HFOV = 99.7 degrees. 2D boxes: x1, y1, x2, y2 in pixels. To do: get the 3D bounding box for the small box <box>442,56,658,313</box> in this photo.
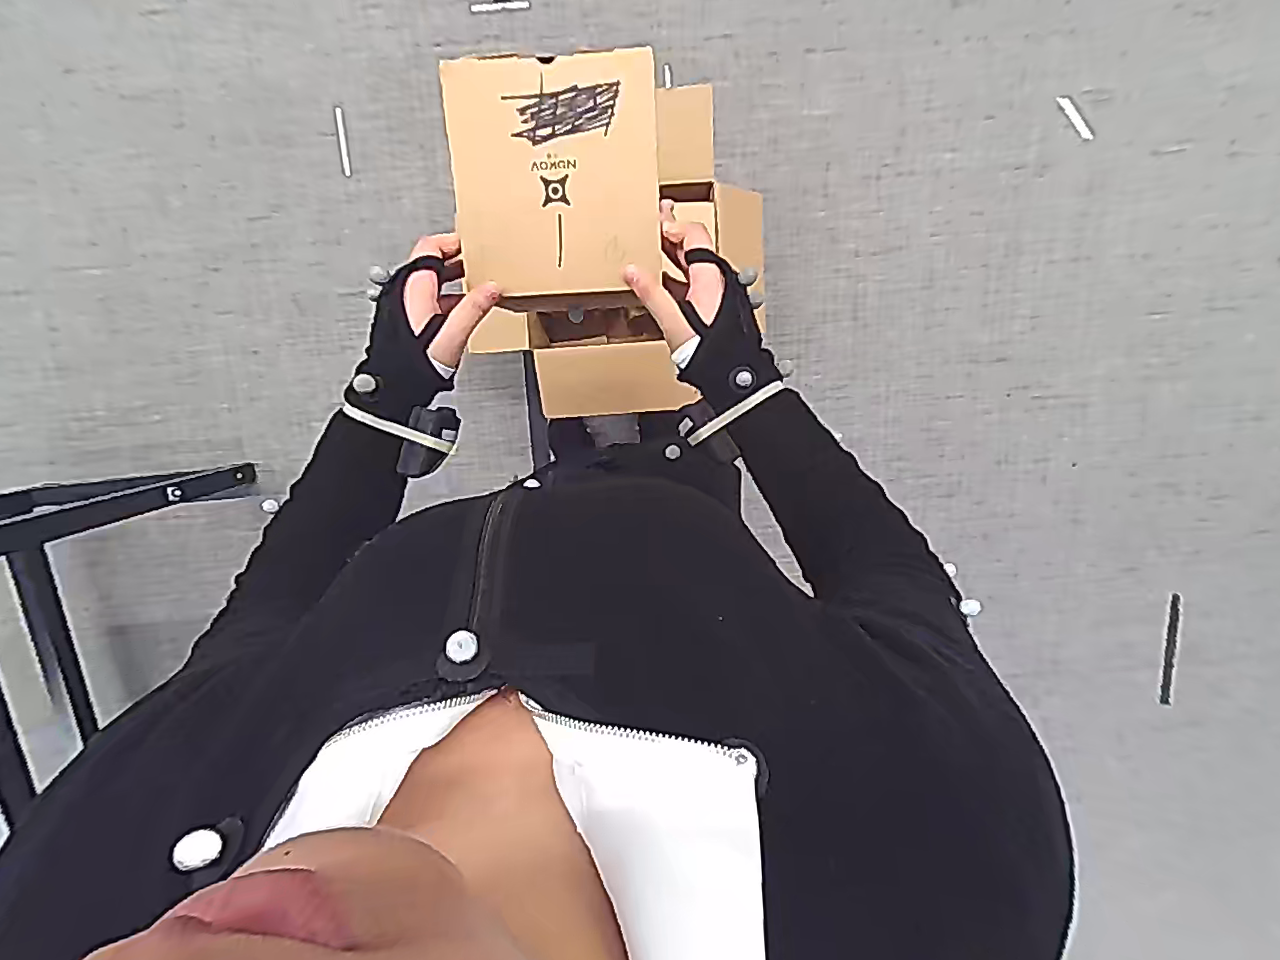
[{"bbox_3d":[-0.069,-0.258,0.513,0.168,0.176,0.179,-3,104,2],"label":"small box"}]
